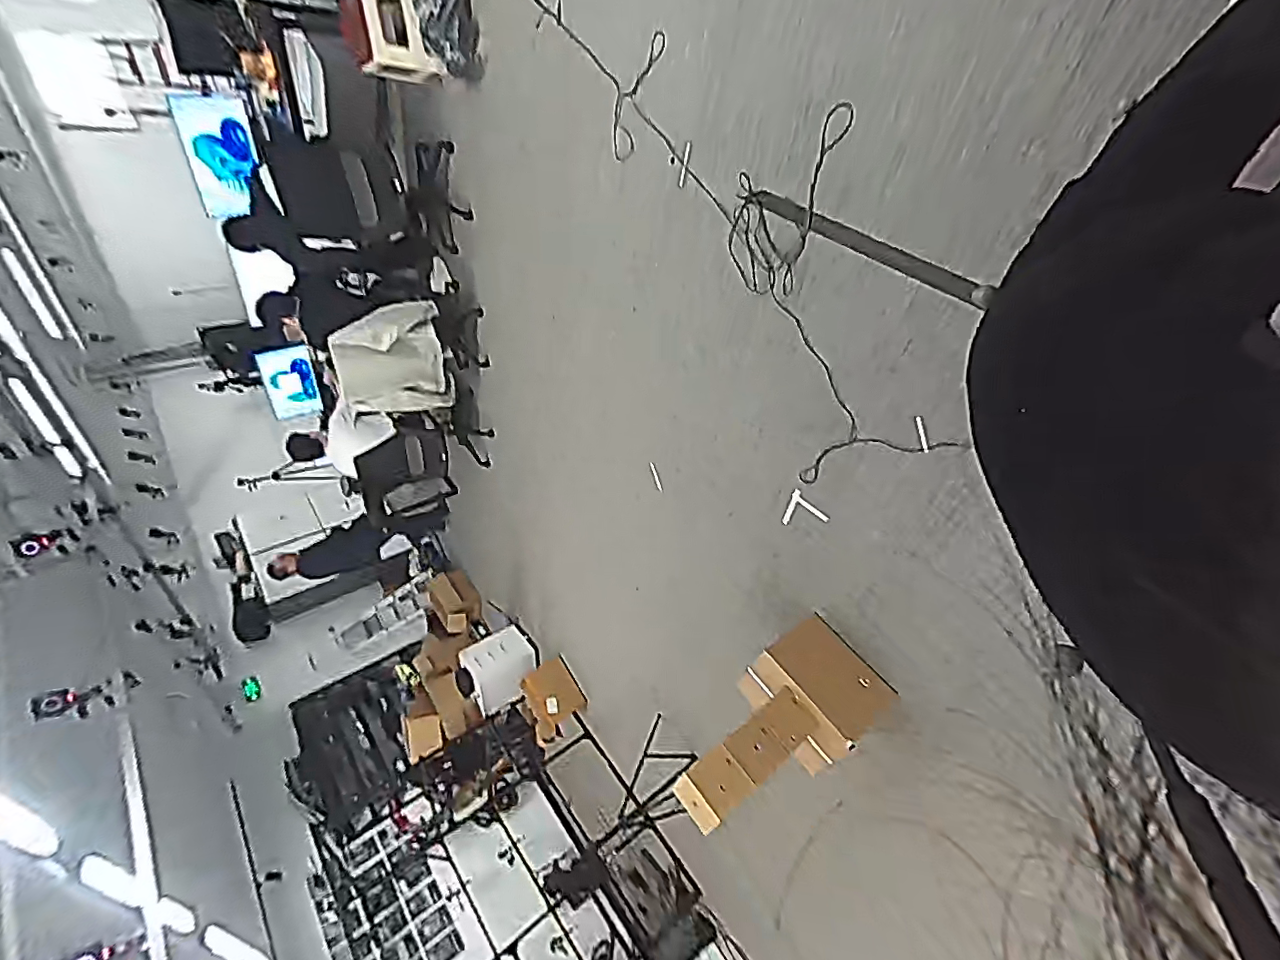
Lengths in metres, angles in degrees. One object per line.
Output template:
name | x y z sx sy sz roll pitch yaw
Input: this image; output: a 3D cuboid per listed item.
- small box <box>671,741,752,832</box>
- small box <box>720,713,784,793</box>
small box | 0.227 0.965 1.712 0.168 0.176 0.179 45 142 28
small box | 0.353 0.914 1.802 0.168 0.176 0.179 47 141 27
